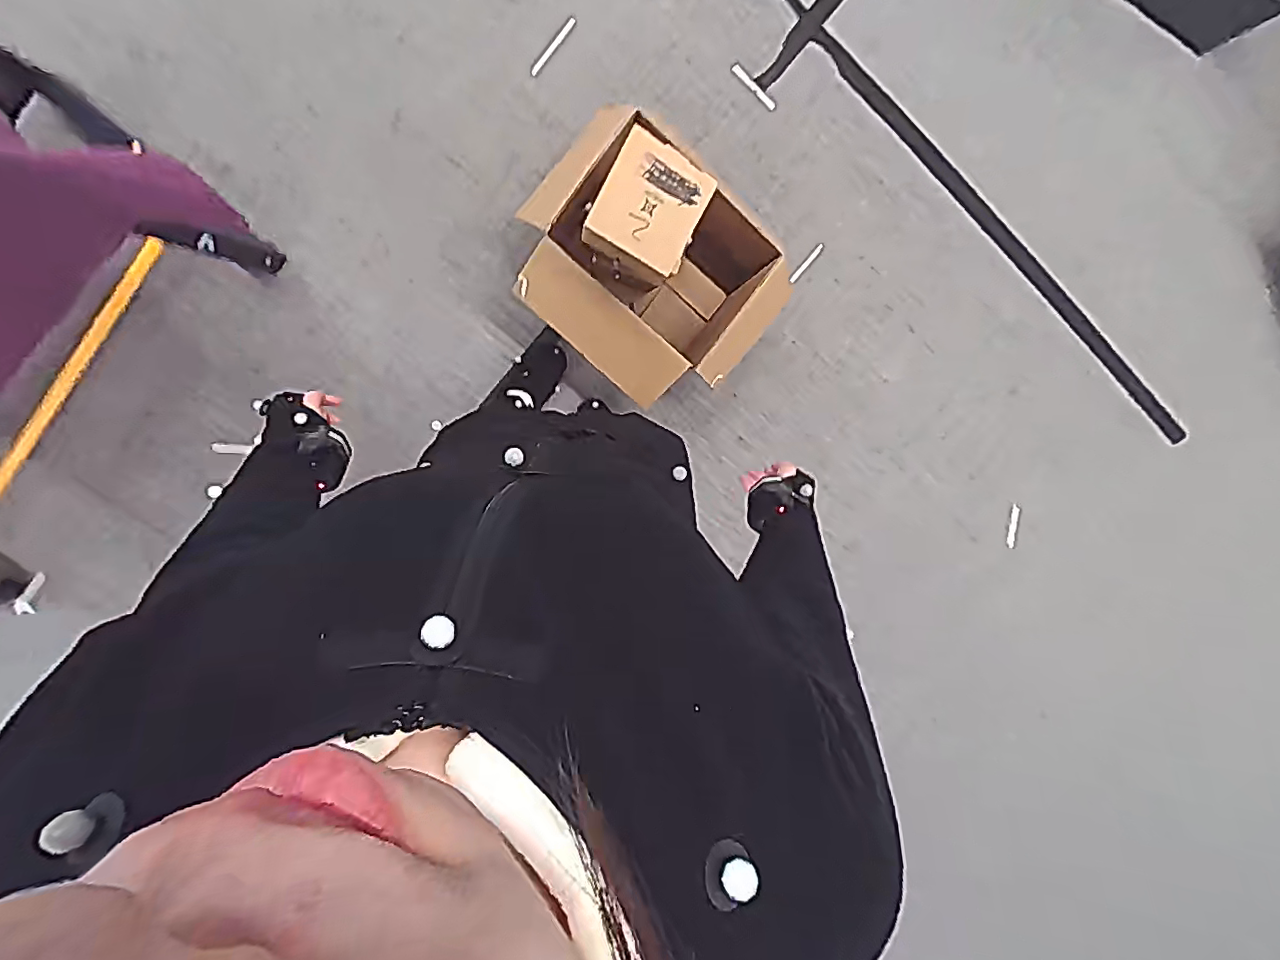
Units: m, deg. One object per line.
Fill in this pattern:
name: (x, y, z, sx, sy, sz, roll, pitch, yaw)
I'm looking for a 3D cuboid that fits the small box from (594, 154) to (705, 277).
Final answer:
small box: (0.010, -0.536, 1.126, 0.179, 0.176, 0.168, 18, 102, -12)
